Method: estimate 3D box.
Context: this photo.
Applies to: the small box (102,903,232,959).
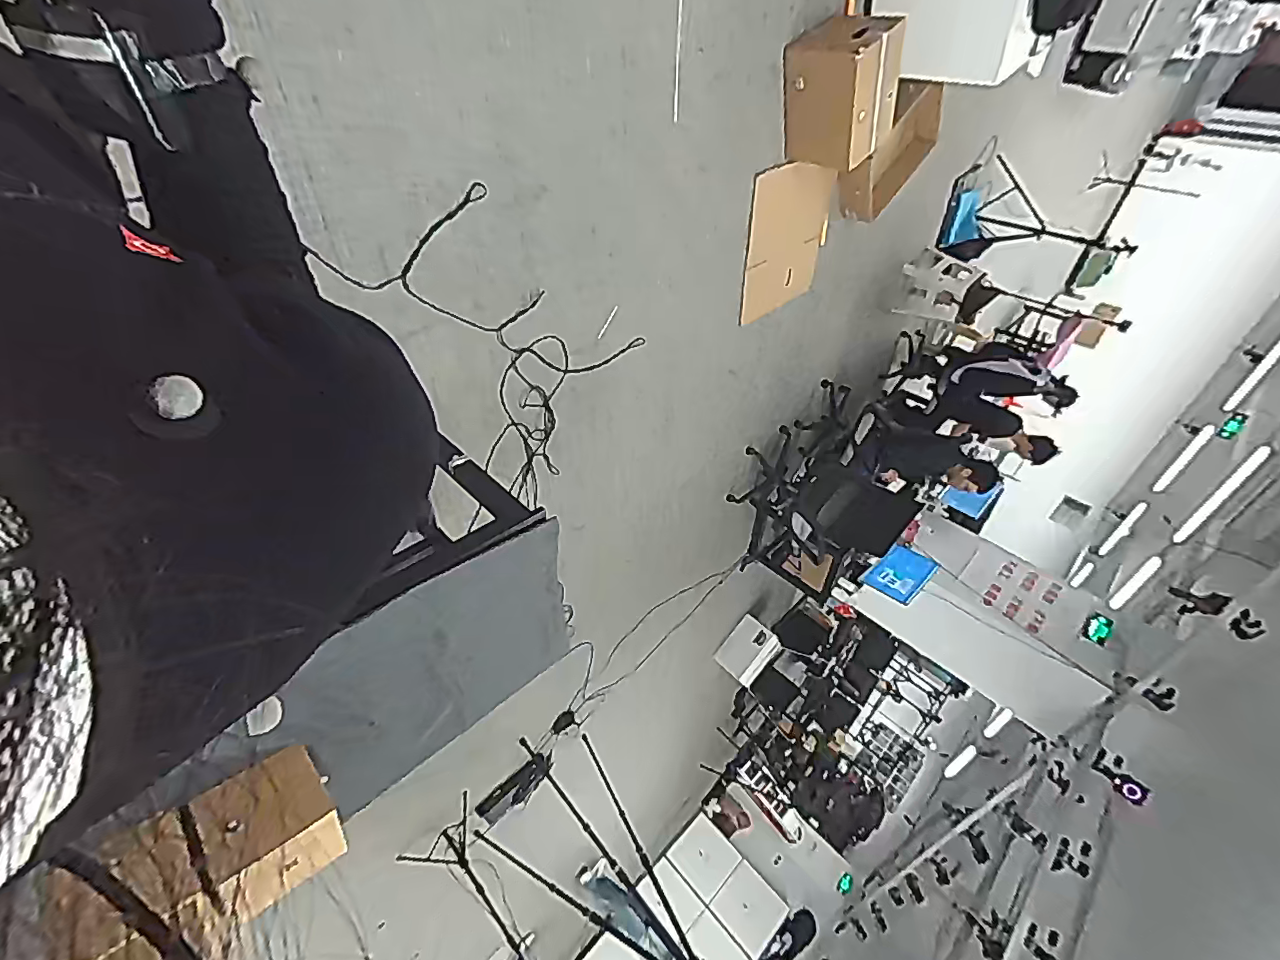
[{"bbox_3d":[-0.681,0.756,0.759,0.179,0.176,0.168,-22,134,-40],"label":"small box"}]
